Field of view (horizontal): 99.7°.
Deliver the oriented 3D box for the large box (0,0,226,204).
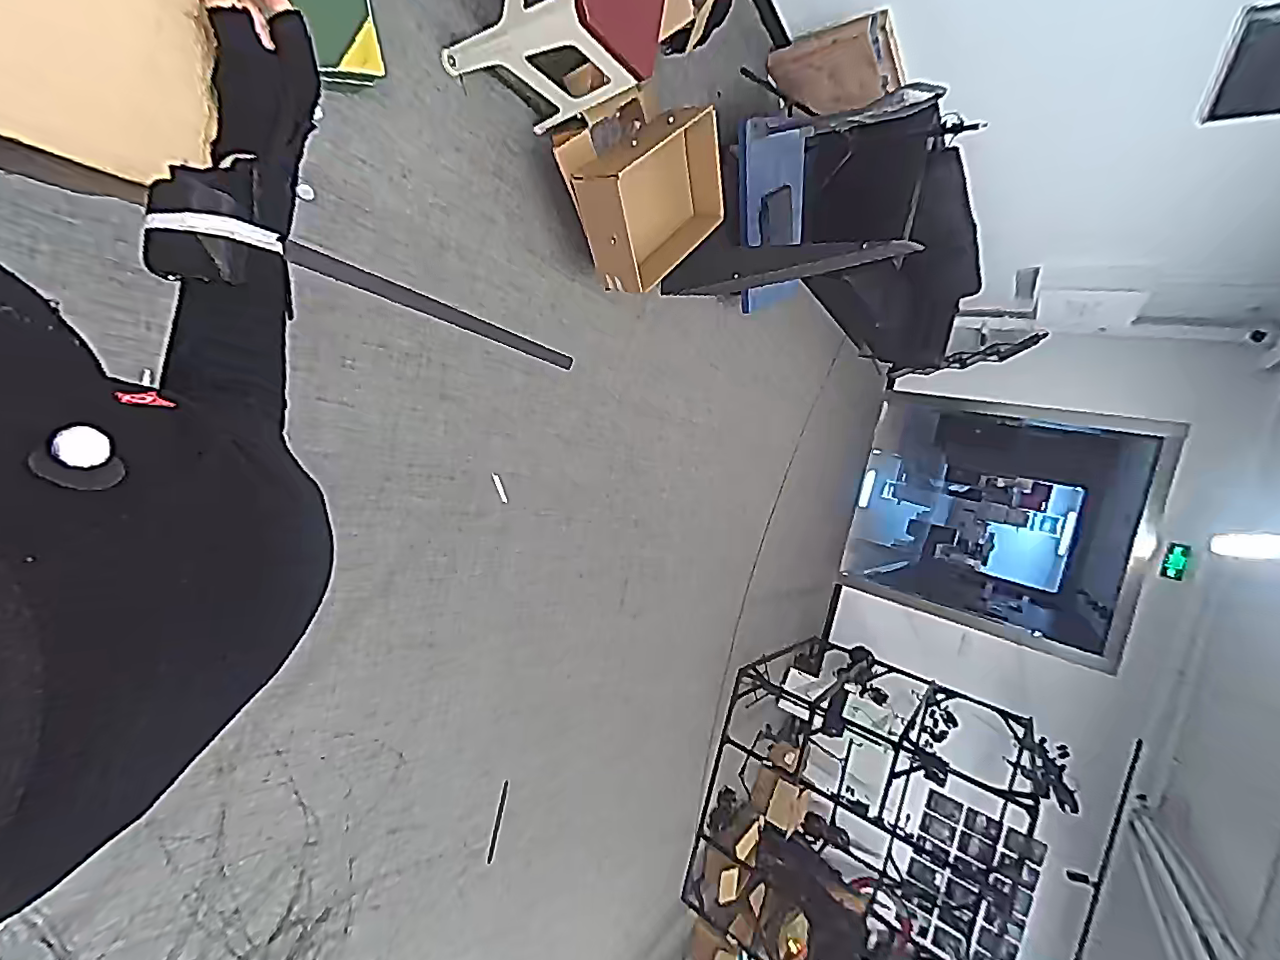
[{"bbox_3d":[-0.527,-0.394,0.299,0.408,0.320,0.320,-1,109,-58],"label":"large box"}]
